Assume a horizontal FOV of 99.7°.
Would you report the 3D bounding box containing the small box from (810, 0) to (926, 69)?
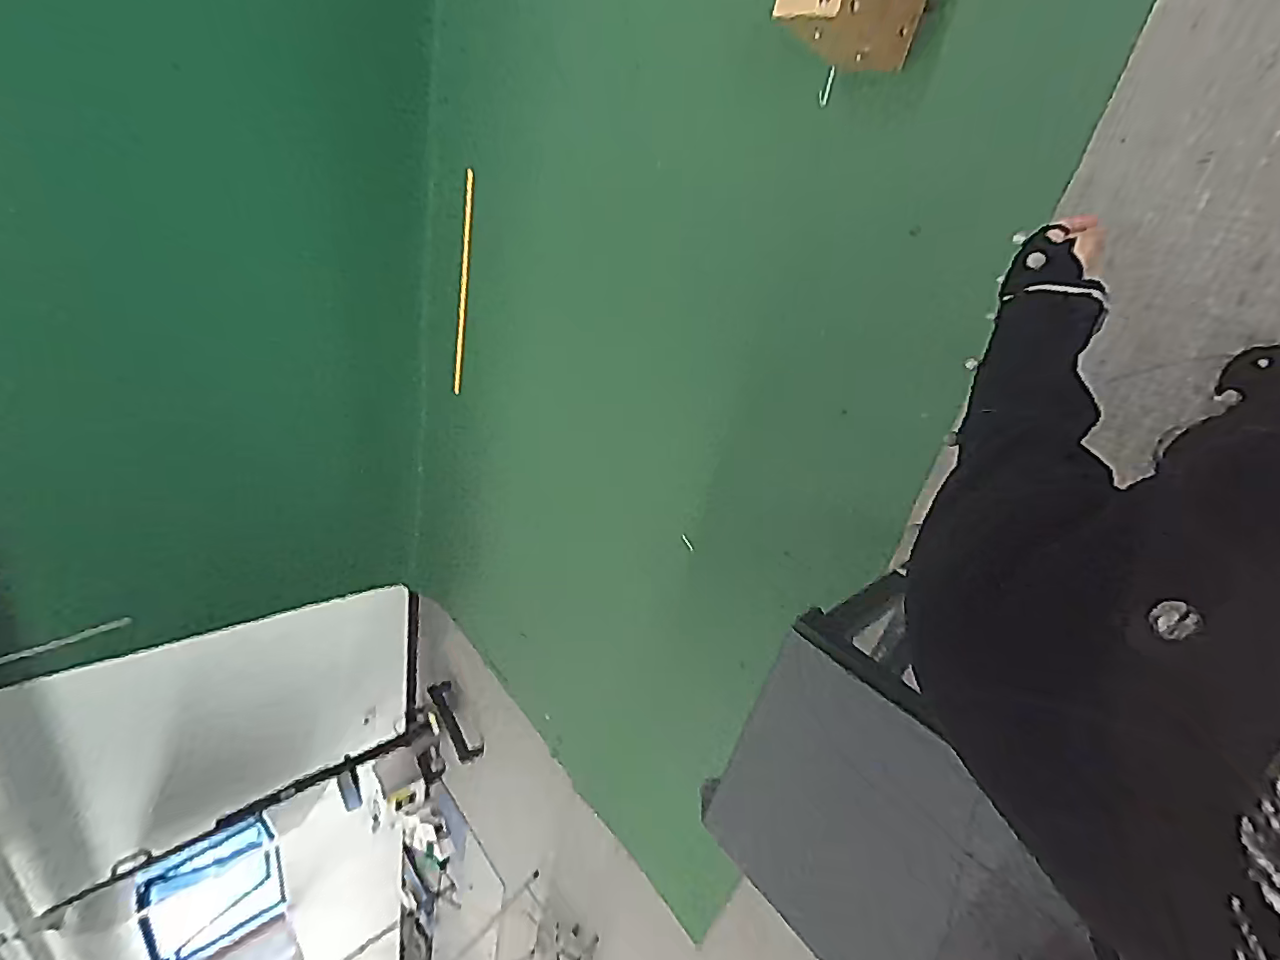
[{"bbox_3d":[0.552,-1.122,1.308,0.179,0.176,0.168,35,123,36],"label":"small box"}]
